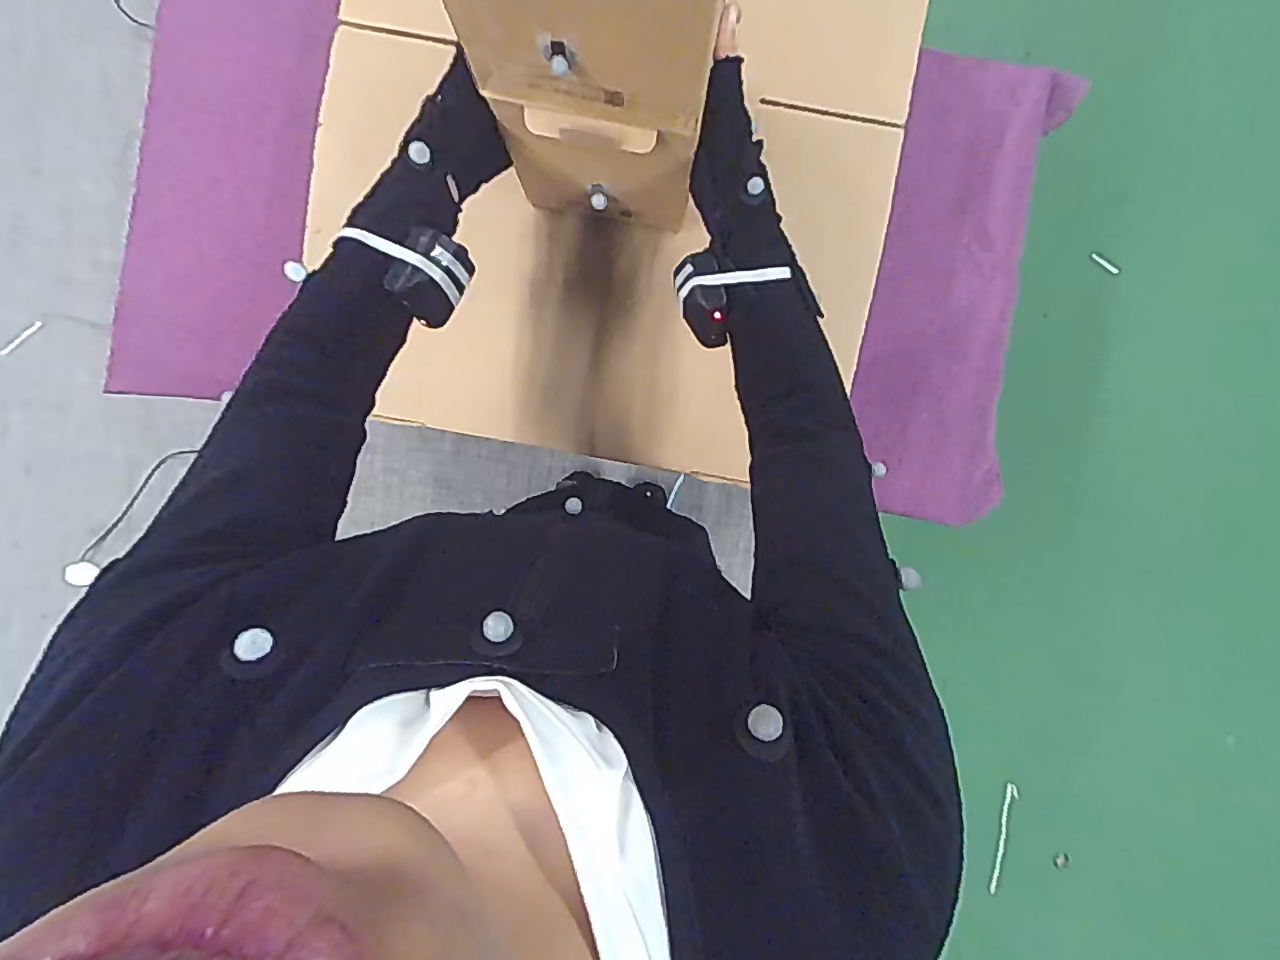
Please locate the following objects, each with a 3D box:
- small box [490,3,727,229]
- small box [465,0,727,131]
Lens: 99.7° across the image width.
[{"bbox_3d":[-0.019,-0.363,0.490,0.168,0.176,0.179,11,90,0],"label":"small box"},{"bbox_3d":[-0.019,-0.361,0.328,0.168,0.176,0.179,11,91,0],"label":"small box"}]
